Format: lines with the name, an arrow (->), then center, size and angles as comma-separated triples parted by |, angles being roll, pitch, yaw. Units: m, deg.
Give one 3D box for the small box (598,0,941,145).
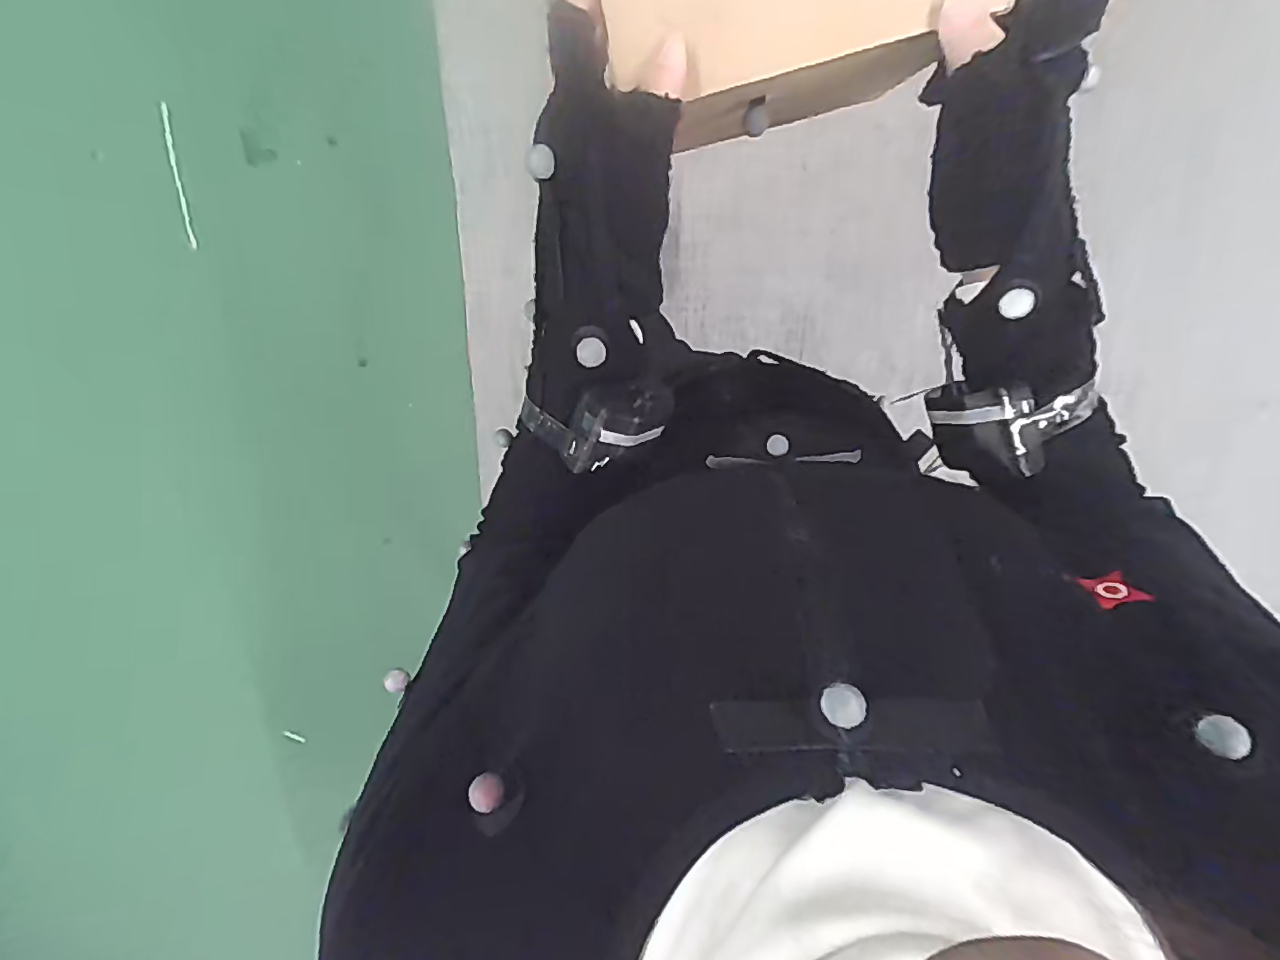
small box -> 0.061, -0.306, 0.290 | 0.179, 0.176, 0.168 | -12, 110, 10
